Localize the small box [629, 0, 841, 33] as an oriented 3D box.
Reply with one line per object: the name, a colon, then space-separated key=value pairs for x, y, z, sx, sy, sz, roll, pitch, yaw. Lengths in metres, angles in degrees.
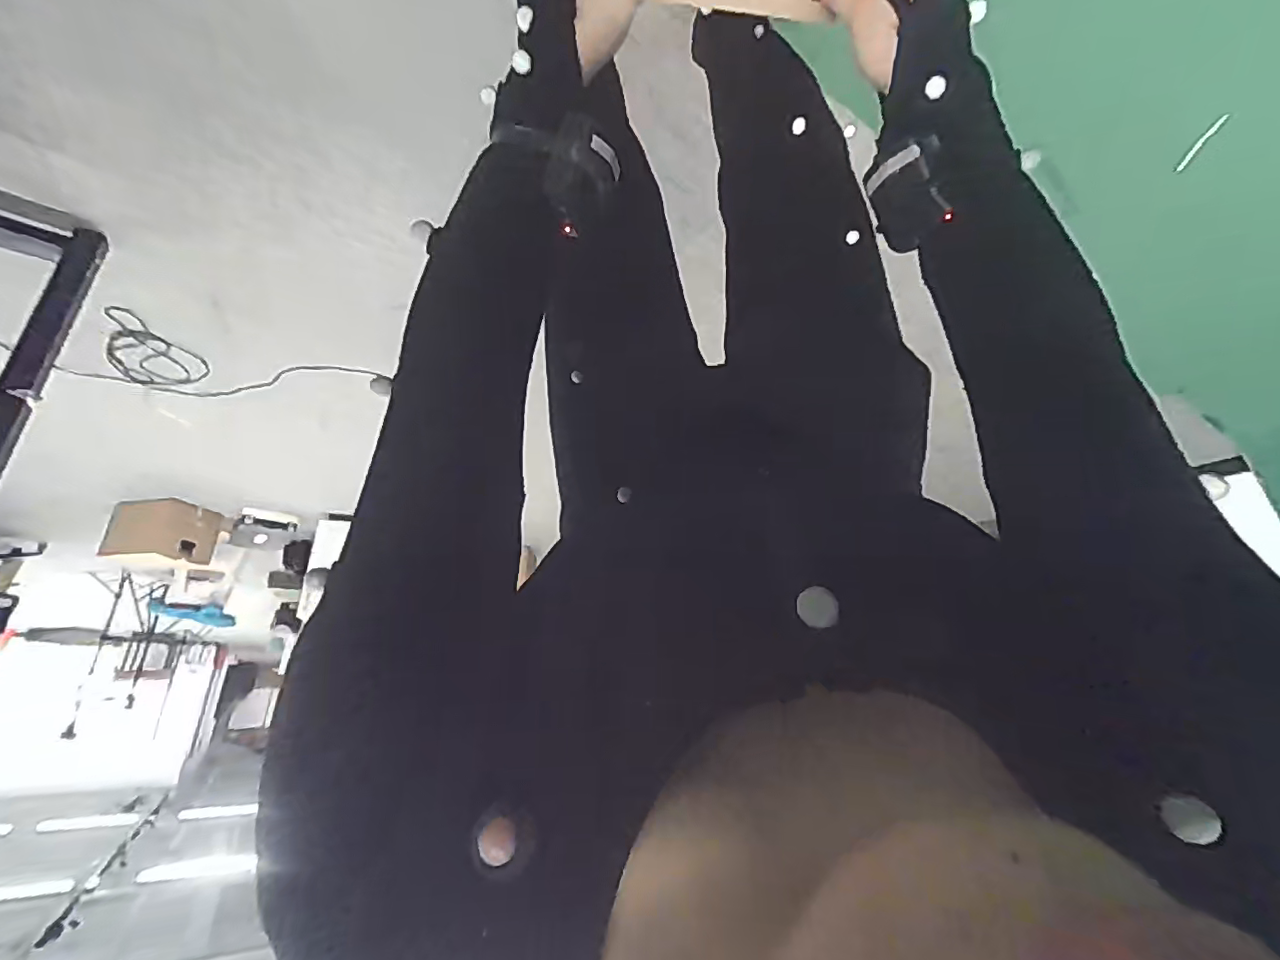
small box: x=0.077 y=-0.462 z=0.366 sx=0.168 sy=0.176 sz=0.179 roll=2 pitch=159 yaw=-7
